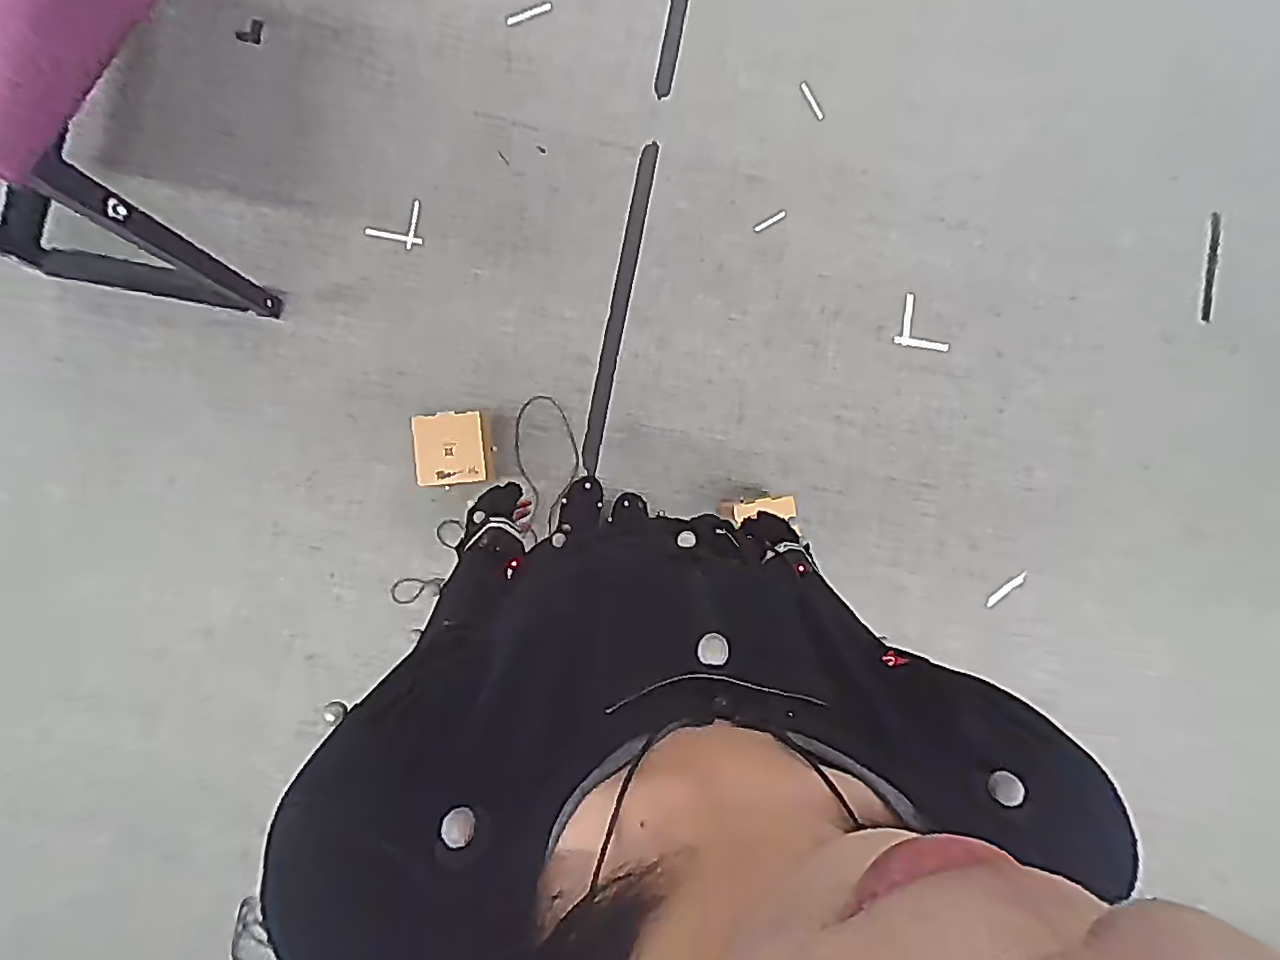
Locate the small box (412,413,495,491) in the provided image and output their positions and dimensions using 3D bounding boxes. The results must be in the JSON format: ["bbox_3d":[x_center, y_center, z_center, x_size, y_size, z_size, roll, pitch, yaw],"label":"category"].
[{"bbox_3d":[-0.476,-0.069,1.399,0.168,0.176,0.179,-6,88,-6],"label":"small box"}]

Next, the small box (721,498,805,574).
[{"bbox_3d":[0.327,0.147,1.475,0.168,0.176,0.179,-10,90,-5],"label":"small box"}]
